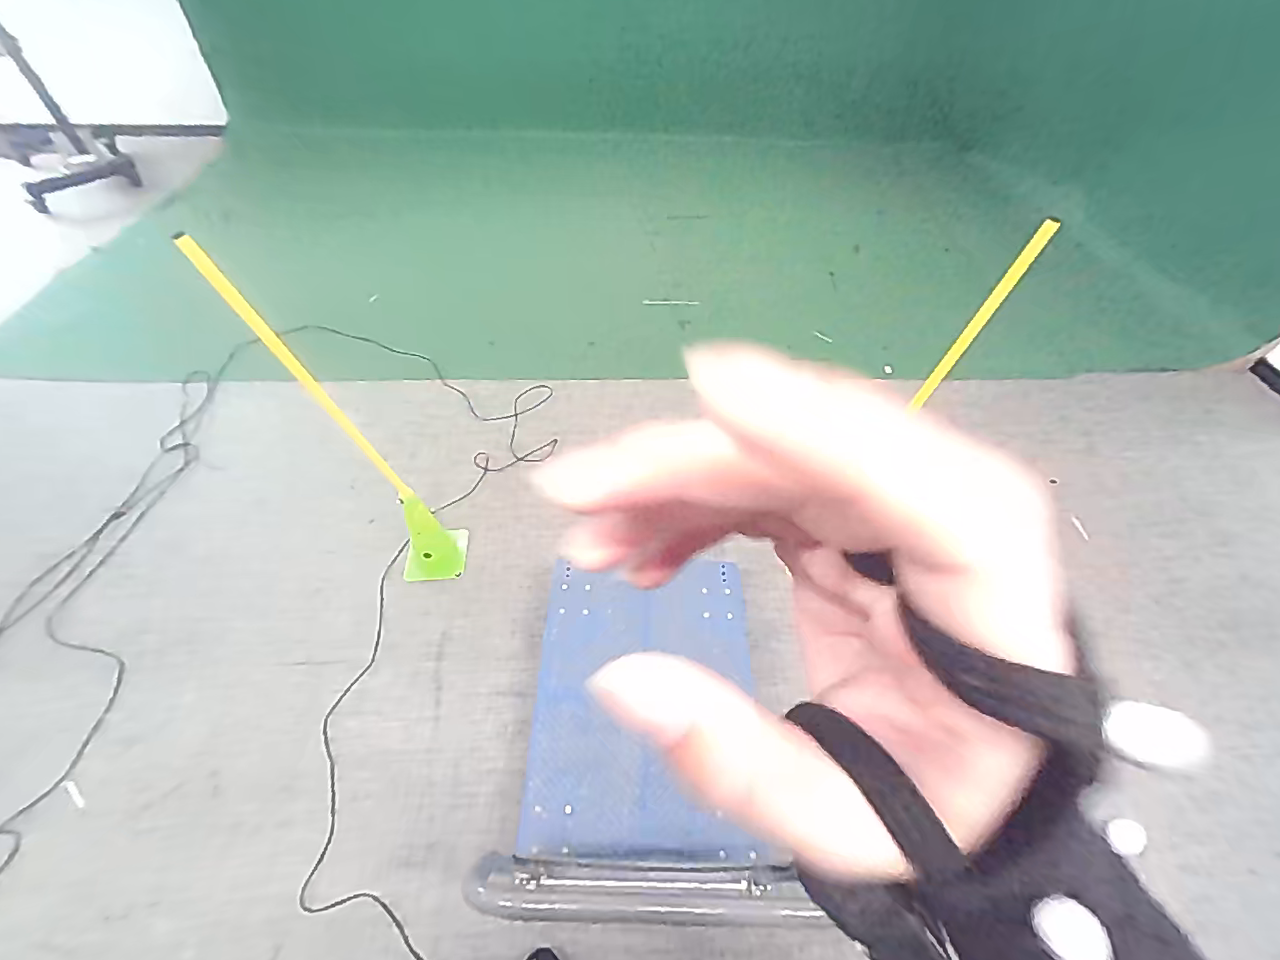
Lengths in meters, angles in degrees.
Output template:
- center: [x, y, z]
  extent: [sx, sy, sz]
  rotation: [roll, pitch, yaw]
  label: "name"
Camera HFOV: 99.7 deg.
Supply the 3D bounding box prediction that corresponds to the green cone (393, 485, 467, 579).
- center: [-0.712, 0.140, 1.756]
  extent: [0.202, 0.368, 0.200]
  rotation: [-5, 50, -3]
  label: "green cone"
